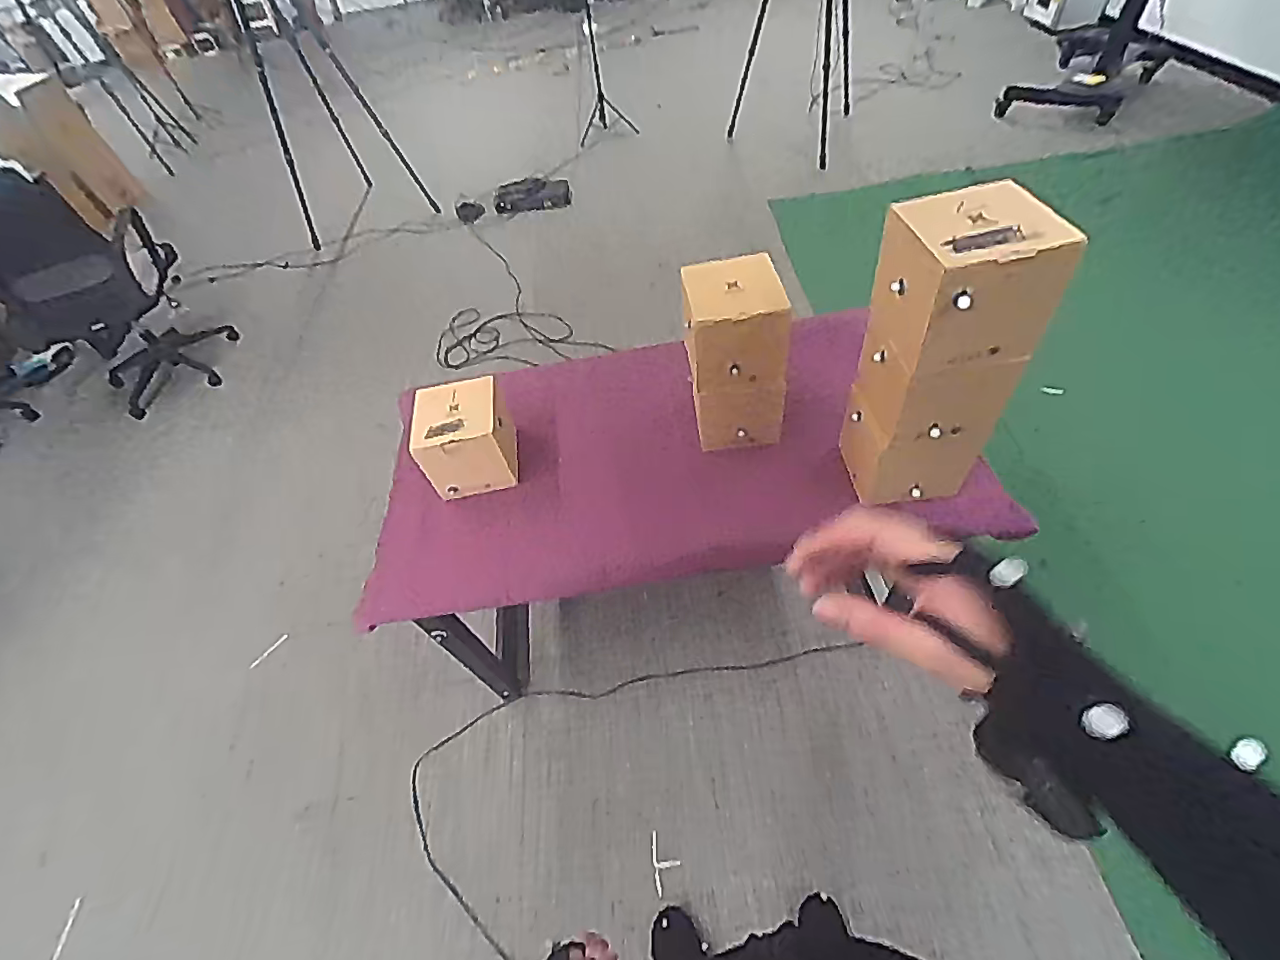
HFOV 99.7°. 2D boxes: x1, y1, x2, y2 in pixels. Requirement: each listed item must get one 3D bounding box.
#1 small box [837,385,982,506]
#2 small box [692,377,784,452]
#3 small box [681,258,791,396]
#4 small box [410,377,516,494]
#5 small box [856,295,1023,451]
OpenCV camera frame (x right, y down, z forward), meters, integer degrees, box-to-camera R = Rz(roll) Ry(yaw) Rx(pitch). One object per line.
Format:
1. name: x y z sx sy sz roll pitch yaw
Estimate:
1. small box: 0.485 -0.069 1.006 0.179 0.176 0.168 -6 51 4
2. small box: 0.197 -0.182 1.137 0.168 0.176 0.179 -6 53 4
3. small box: 0.171 -0.284 1.012 0.168 0.176 0.179 -9 53 2
4. small box: -0.365 -0.086 1.144 0.168 0.176 0.179 -11 51 -1
5. small box: 0.466 -0.171 0.880 0.168 0.176 0.179 -8 51 5
